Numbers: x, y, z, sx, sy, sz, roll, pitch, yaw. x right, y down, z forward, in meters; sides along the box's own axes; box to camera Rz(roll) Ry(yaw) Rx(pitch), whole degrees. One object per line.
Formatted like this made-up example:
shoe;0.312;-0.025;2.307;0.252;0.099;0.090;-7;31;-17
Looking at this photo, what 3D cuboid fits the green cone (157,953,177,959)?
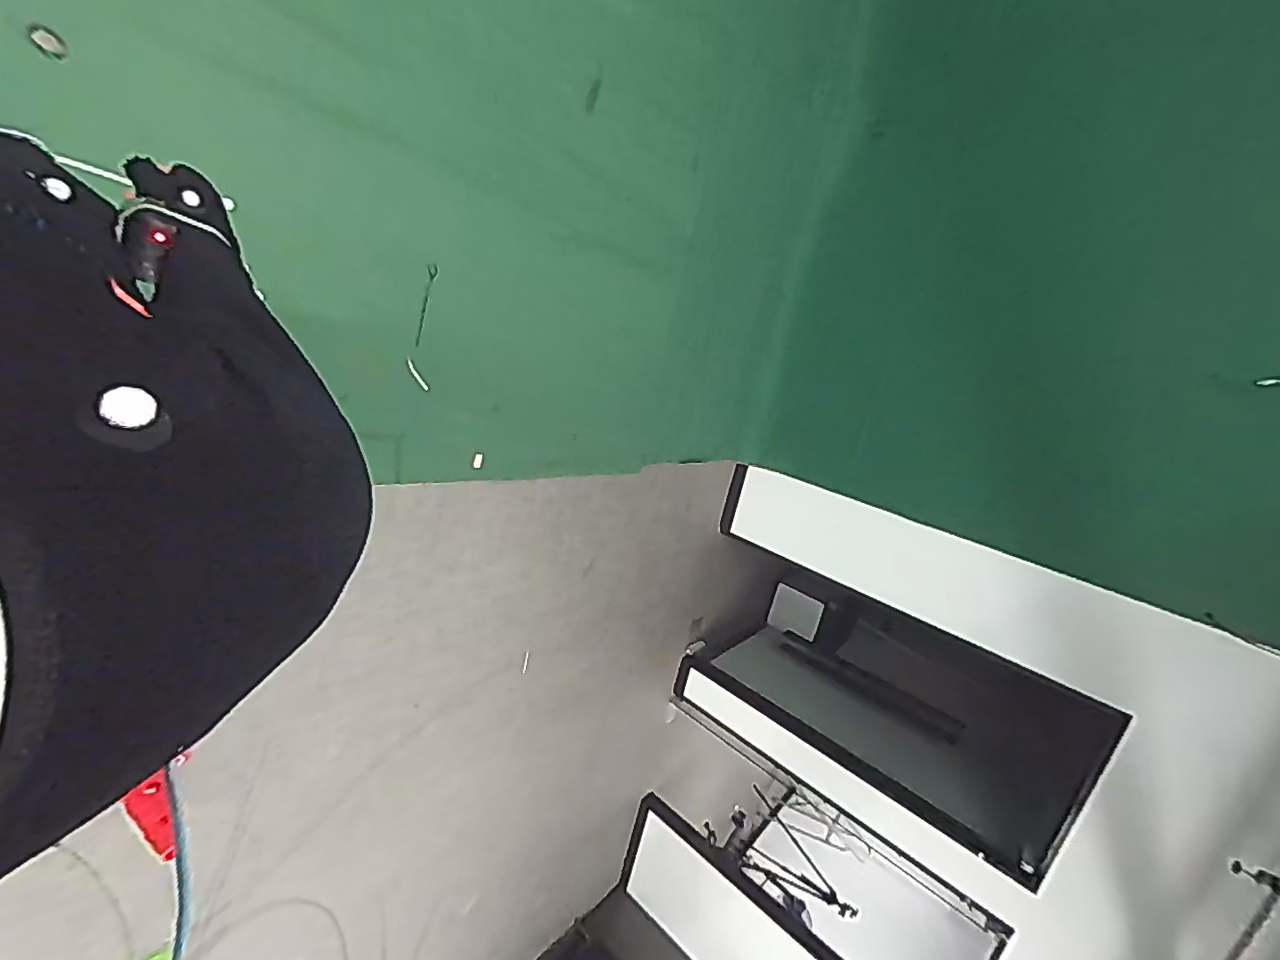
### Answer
green cone;-1.330;1.539;1.443;0.202;0.368;0.200;-6;113;-49
